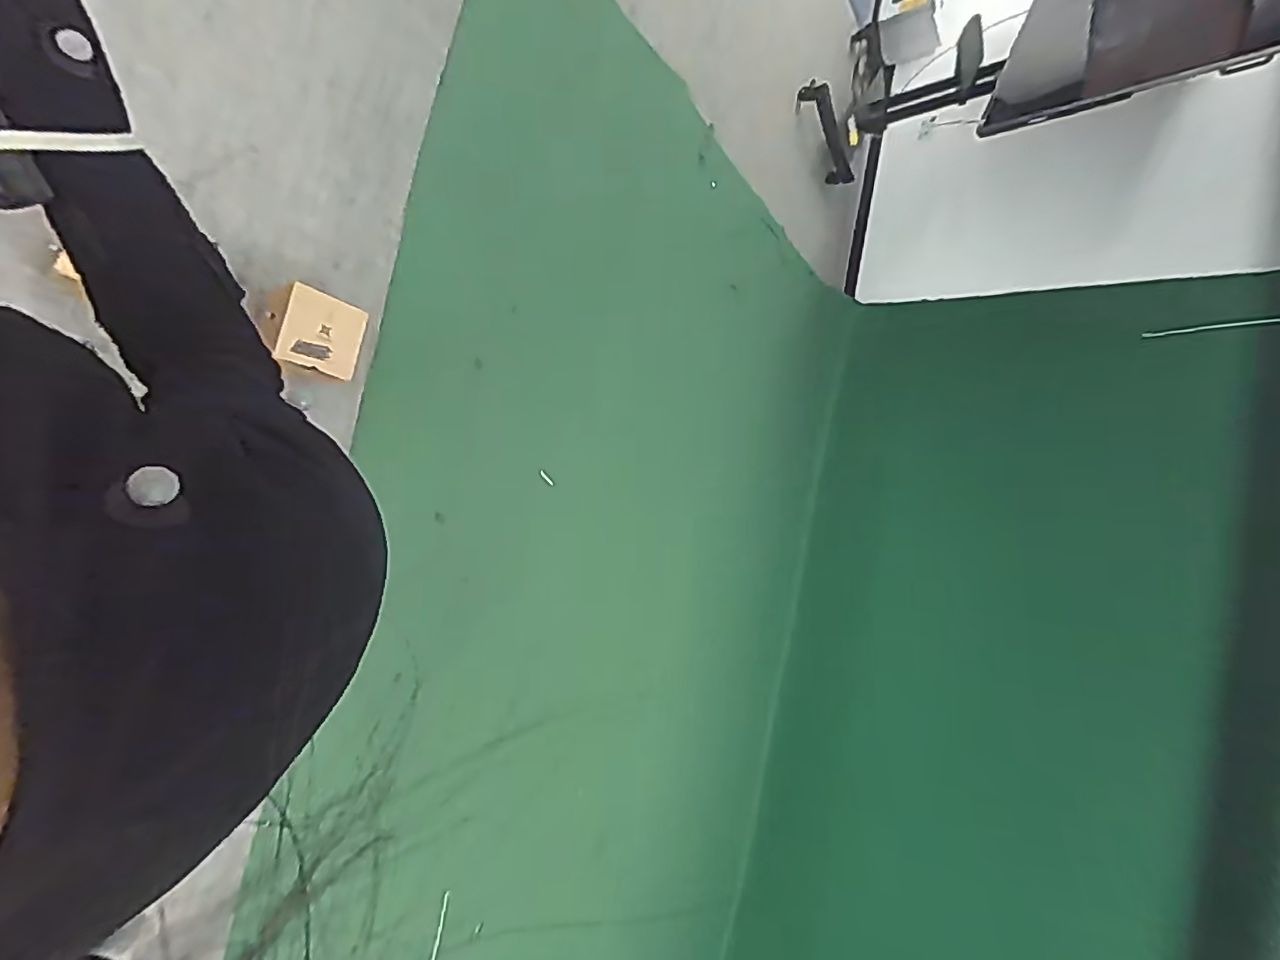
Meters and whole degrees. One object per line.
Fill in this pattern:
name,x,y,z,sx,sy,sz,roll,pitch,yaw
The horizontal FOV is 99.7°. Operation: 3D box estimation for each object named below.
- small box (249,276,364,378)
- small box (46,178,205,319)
small box,-0.785,-0.349,1.269,0.168,0.176,0.179,18,82,-51
small box,-0.973,-0.425,1.022,0.168,0.176,0.179,26,77,-50
